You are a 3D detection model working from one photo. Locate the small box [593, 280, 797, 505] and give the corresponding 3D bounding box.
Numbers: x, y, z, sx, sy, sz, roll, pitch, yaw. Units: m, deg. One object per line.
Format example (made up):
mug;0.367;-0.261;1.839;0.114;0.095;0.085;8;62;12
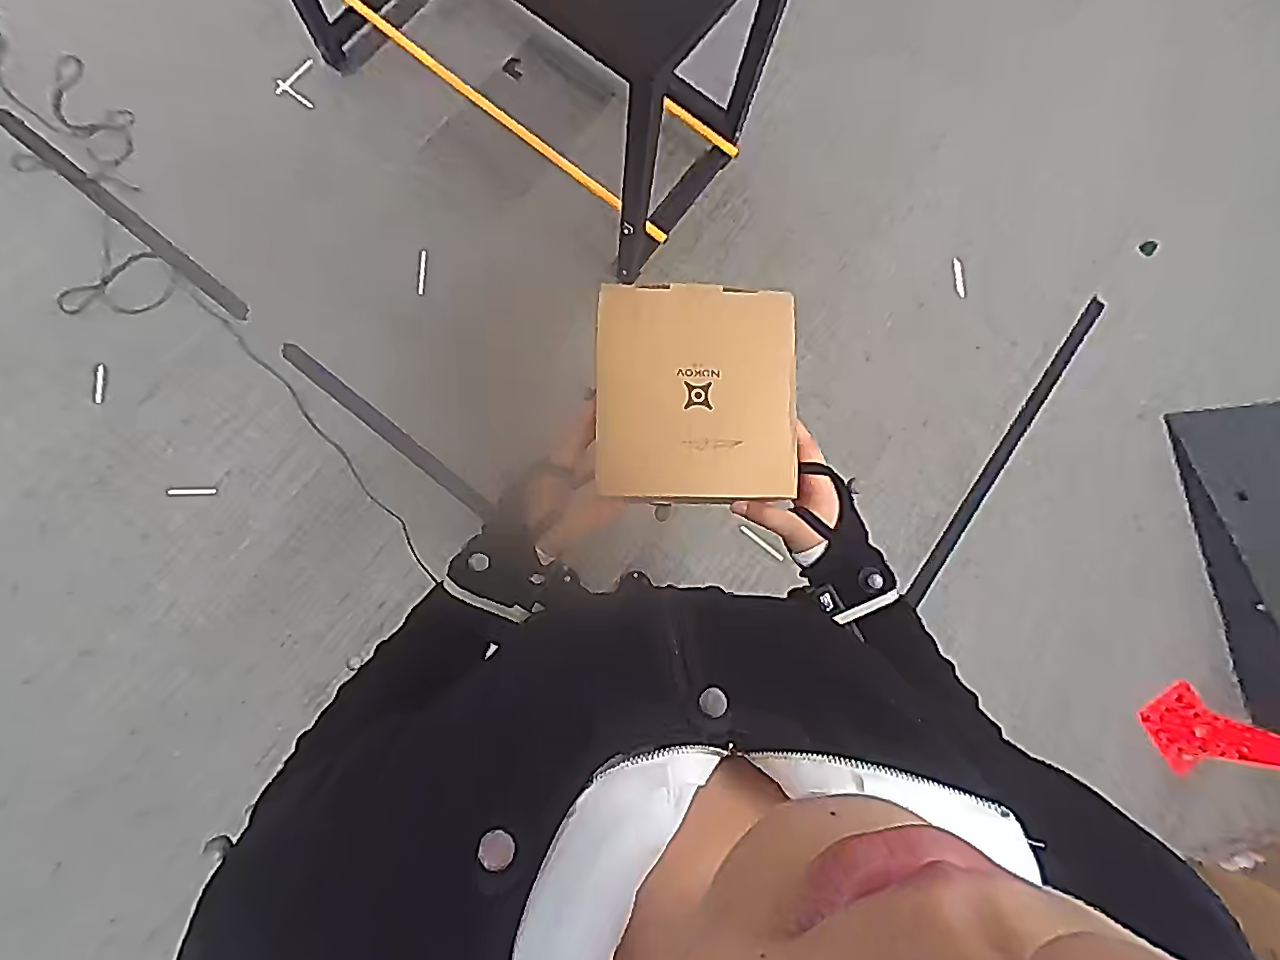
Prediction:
small box;0.040;-0.068;0.517;0.168;0.176;0.179;1;86;-5
